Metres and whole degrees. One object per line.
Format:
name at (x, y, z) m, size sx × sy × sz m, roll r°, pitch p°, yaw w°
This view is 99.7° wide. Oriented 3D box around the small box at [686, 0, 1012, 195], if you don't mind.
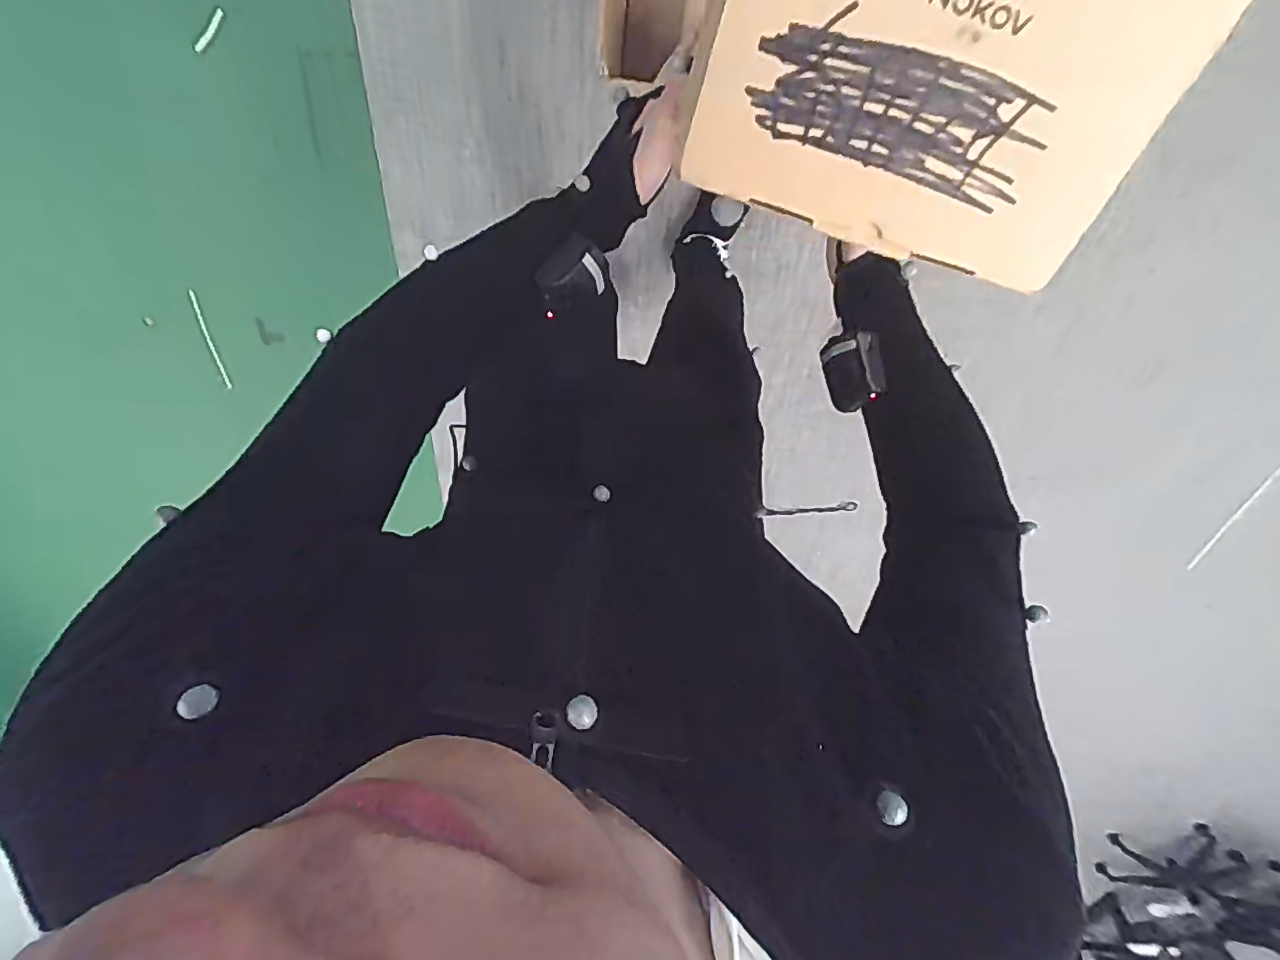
small box at (0.130, -0.324, 0.370) m, size 0.168 × 0.176 × 0.179 m, roll 13°, pitch 127°, yaw -6°
